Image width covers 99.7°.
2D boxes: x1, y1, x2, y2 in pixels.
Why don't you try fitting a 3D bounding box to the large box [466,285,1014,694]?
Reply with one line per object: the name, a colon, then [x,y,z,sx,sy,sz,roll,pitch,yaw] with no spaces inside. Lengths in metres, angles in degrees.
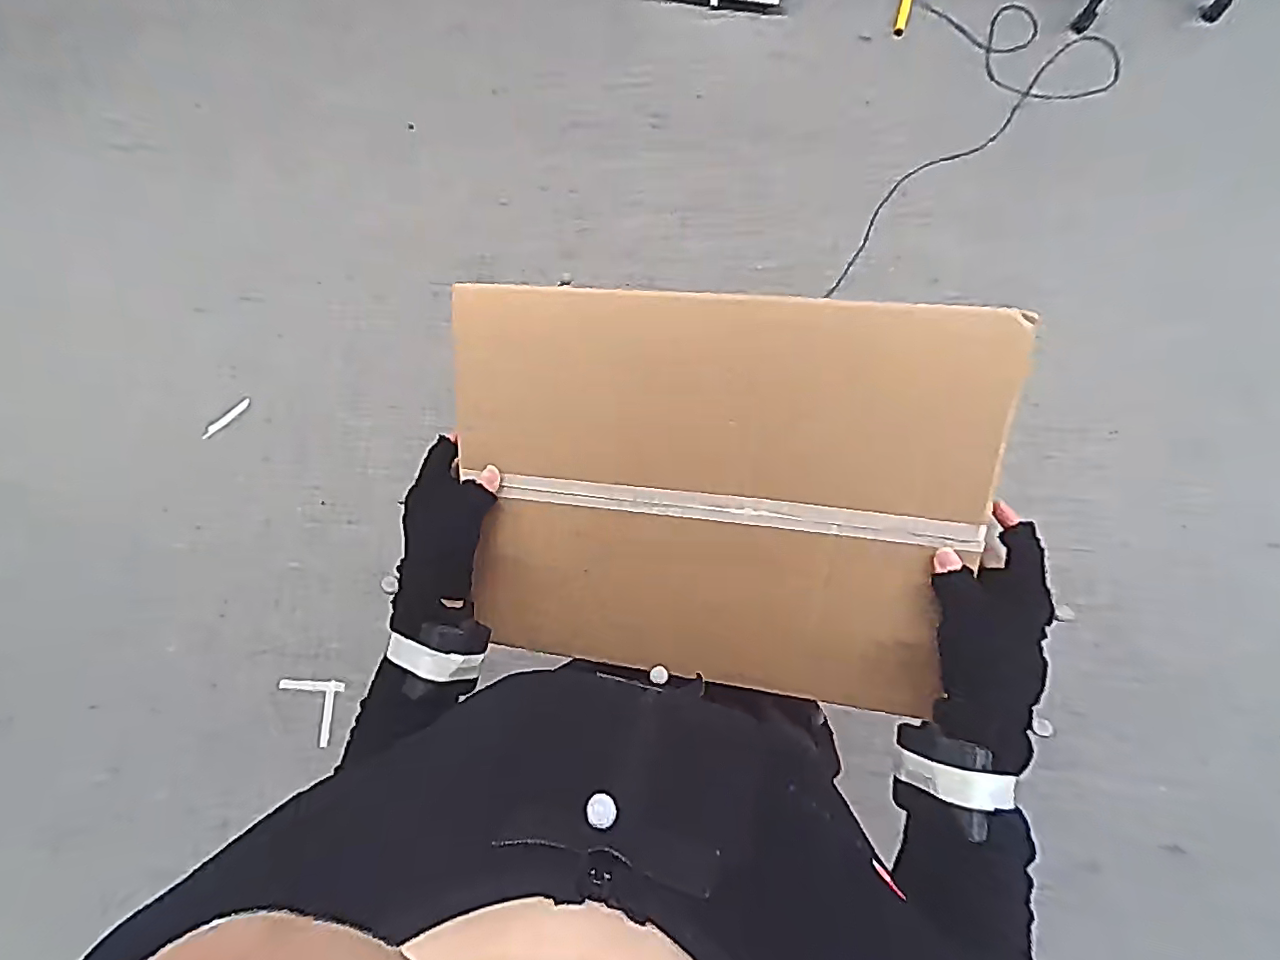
large box: [0.077,-0.028,0.575,0.408,0.320,0.320,6,108,11]
